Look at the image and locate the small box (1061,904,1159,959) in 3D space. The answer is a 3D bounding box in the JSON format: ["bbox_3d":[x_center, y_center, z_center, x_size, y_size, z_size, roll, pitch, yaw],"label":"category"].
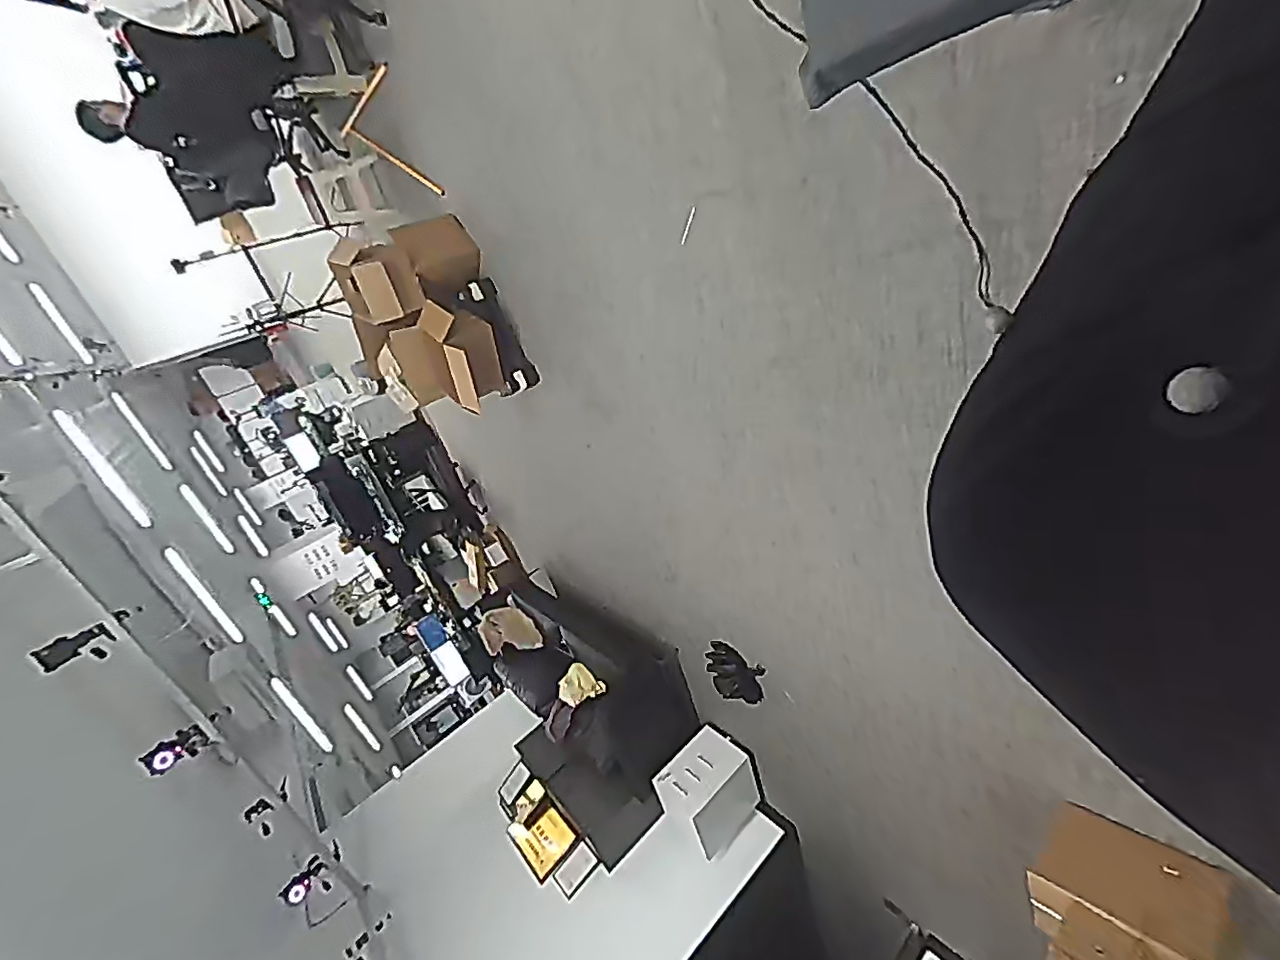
[{"bbox_3d":[1.343,1.372,1.551,0.179,0.176,0.168,13,129,51],"label":"small box"}]
